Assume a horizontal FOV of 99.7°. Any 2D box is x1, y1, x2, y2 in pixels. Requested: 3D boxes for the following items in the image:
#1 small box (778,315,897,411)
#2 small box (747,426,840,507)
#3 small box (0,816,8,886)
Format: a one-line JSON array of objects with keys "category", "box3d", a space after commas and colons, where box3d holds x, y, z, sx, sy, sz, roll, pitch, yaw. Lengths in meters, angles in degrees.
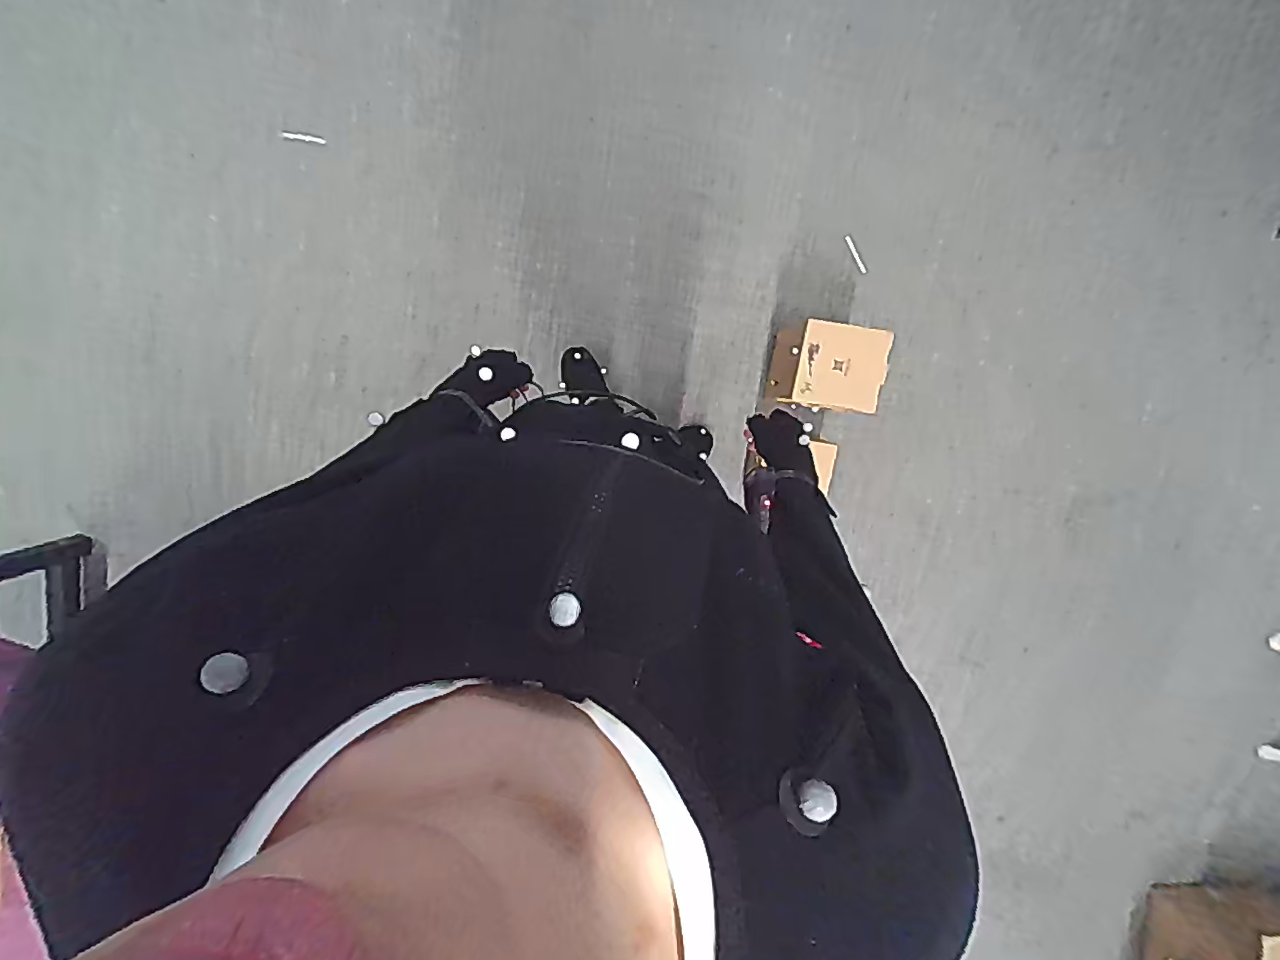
[{"category": "small box", "box3d": [0.414, -0.249, 1.163, 0.179, 0.176, 0.168, 10, 101, 0]}, {"category": "small box", "box3d": [0.377, -0.041, 1.368, 0.179, 0.176, 0.168, 9, 101, 0]}, {"category": "small box", "box3d": [-1.148, 0.626, 0.832, 0.168, 0.176, 0.179, 16, 101, -1]}]
